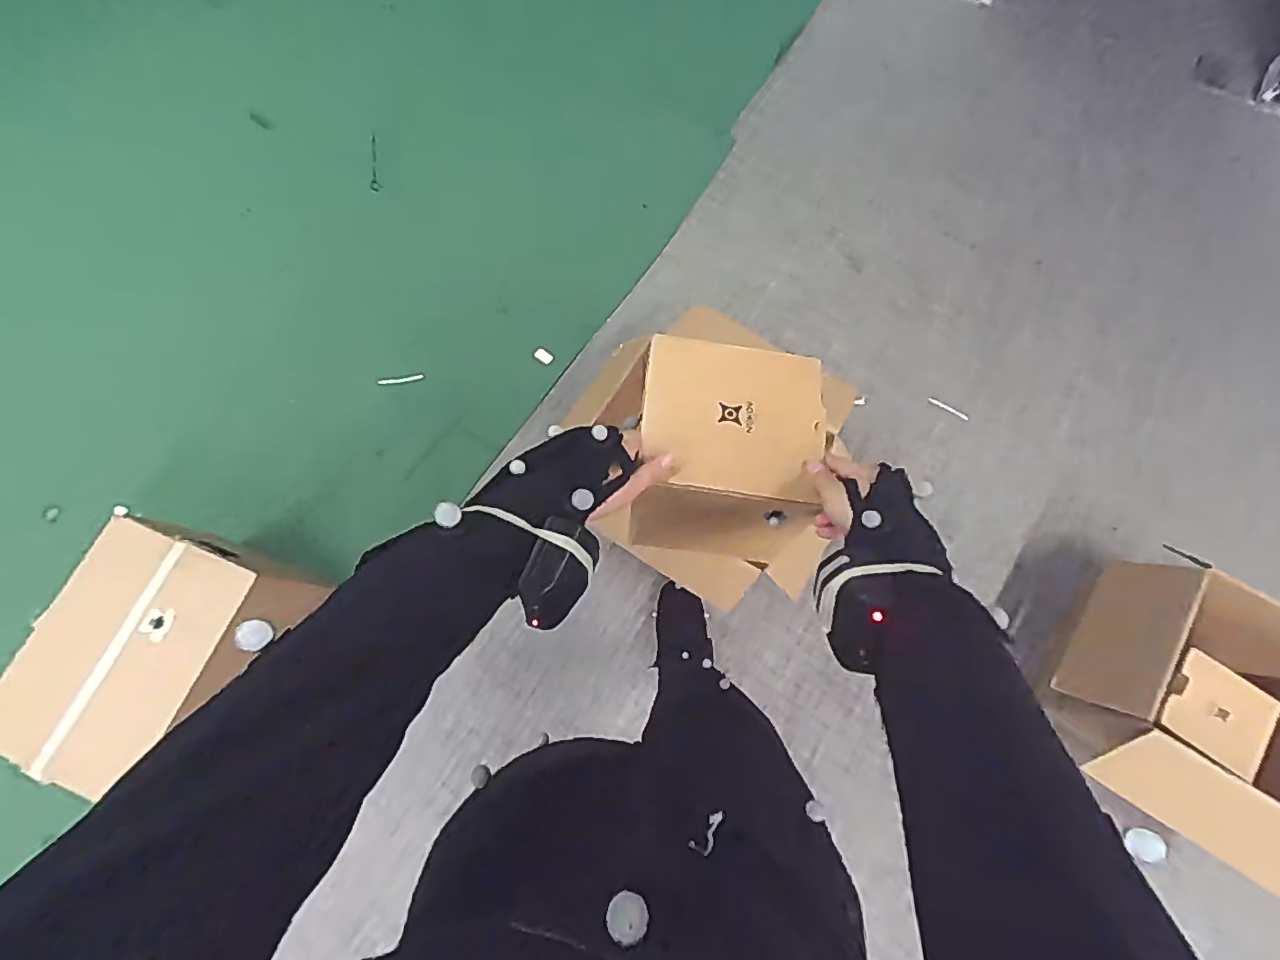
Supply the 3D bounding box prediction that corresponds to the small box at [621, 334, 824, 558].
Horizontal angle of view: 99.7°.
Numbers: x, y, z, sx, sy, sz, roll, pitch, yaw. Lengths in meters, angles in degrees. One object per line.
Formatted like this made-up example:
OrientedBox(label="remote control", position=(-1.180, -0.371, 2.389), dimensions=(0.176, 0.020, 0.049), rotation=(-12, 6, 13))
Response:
OrientedBox(label="small box", position=(0.078, -0.026, 0.578), dimensions=(0.179, 0.176, 0.168), rotation=(9, 63, -3))
